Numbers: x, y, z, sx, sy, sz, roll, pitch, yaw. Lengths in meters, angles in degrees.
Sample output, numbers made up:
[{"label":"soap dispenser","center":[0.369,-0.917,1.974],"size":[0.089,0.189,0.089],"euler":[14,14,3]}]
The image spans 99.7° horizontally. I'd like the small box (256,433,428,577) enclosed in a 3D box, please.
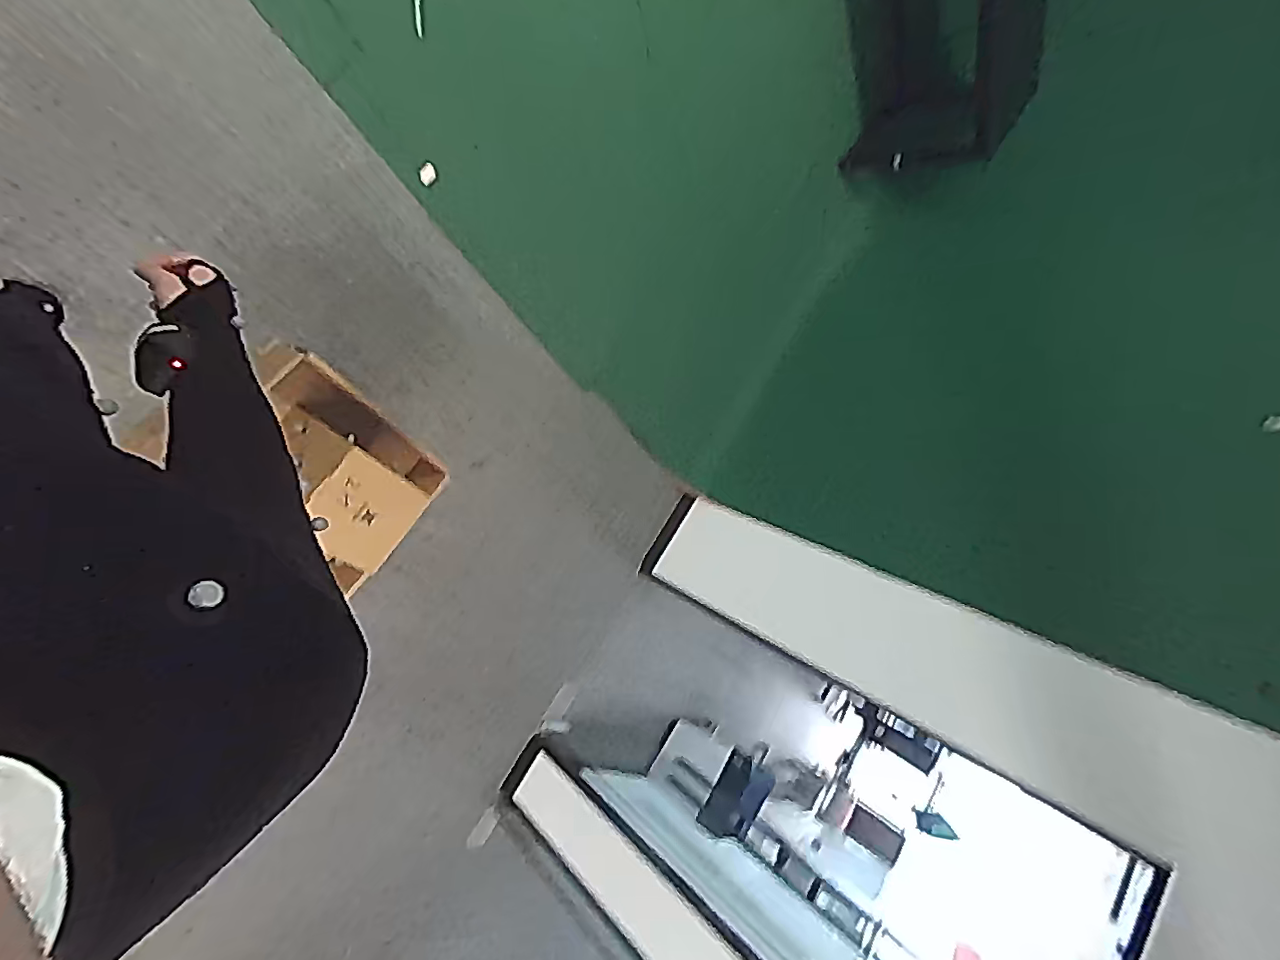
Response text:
[{"label":"small box","center":[-0.521,0.038,0.949],"size":[0.168,0.176,0.179],"euler":[-56,139,-15]}]
